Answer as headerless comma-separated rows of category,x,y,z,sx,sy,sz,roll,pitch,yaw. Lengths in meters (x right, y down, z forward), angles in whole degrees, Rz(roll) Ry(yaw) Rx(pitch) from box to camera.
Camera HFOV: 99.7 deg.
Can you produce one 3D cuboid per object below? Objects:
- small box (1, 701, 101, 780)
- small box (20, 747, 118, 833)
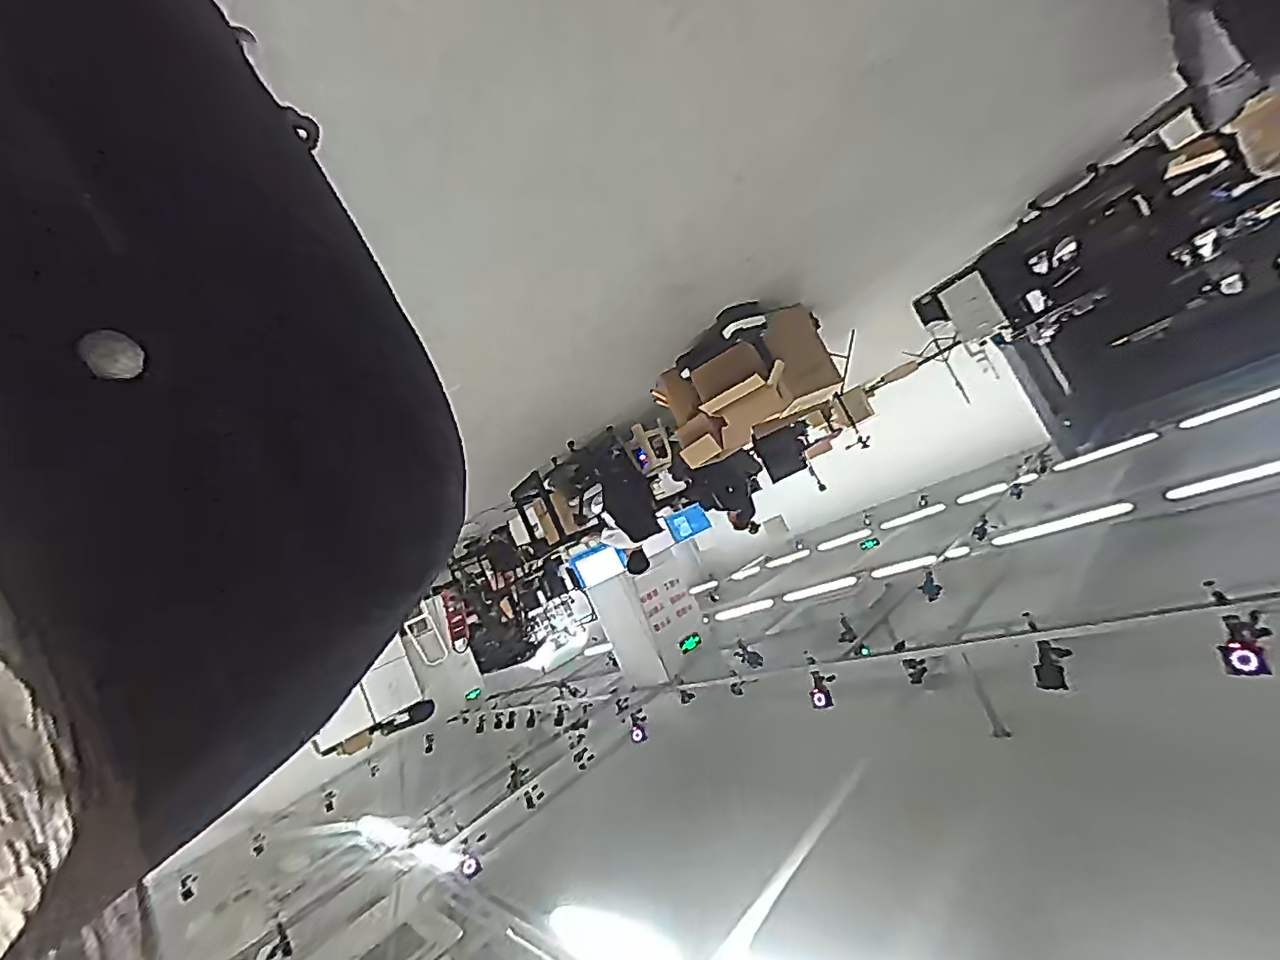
small box,-1.888,0.833,1.739,0.179,0.176,0.168,-18,169,-42
small box,-1.820,0.982,1.723,0.179,0.176,0.168,-22,172,-41
